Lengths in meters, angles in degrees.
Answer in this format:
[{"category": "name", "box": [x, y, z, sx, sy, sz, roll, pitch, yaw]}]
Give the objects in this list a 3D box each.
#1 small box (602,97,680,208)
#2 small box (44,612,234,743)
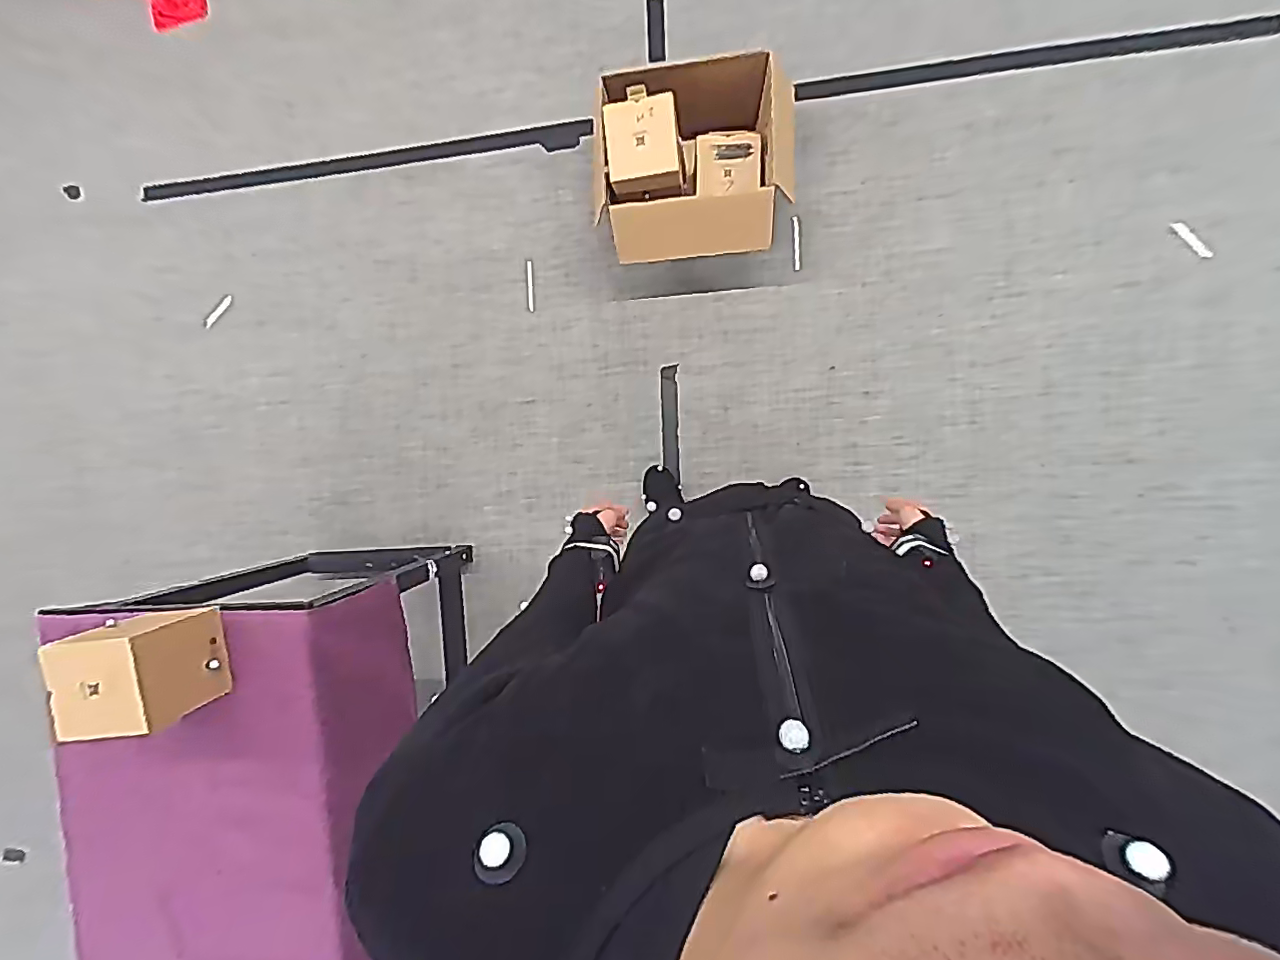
[{"category": "small box", "box": [0.008, -0.795, 1.334, 0.168, 0.176, 0.179, -4, 93, 7]}, {"category": "small box", "box": [-0.883, 0.345, 0.966, 0.179, 0.176, 0.168, -8, 94, 8]}]
